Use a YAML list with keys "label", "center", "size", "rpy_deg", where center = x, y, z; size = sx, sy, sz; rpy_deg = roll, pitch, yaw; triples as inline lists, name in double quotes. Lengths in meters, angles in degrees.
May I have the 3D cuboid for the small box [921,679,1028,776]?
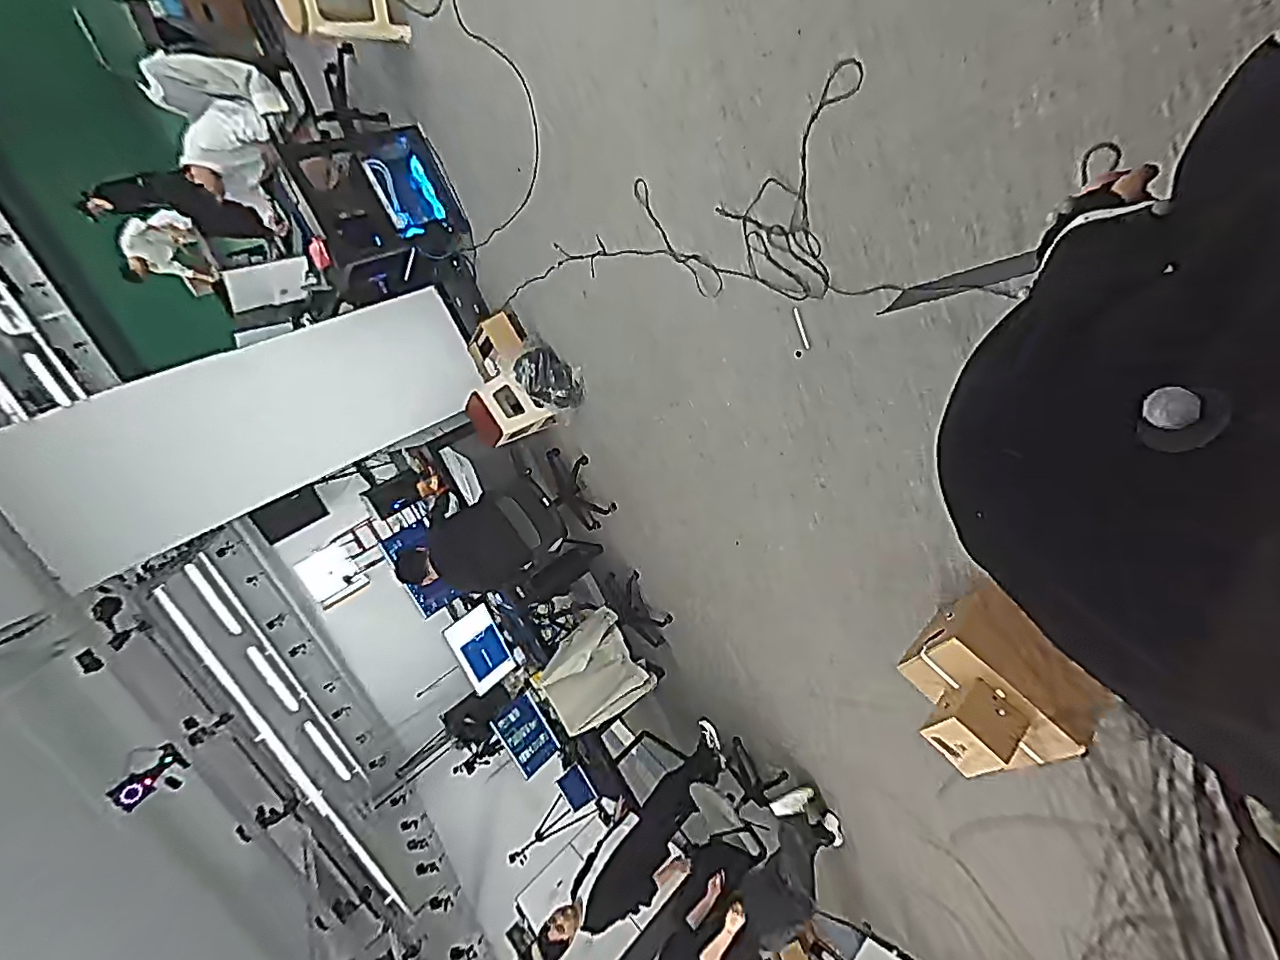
- label: "small box"
  center: [0.953, 0.702, 1.540]
  size: [0.168, 0.176, 0.179]
  rpy_deg: [44, 147, 21]
